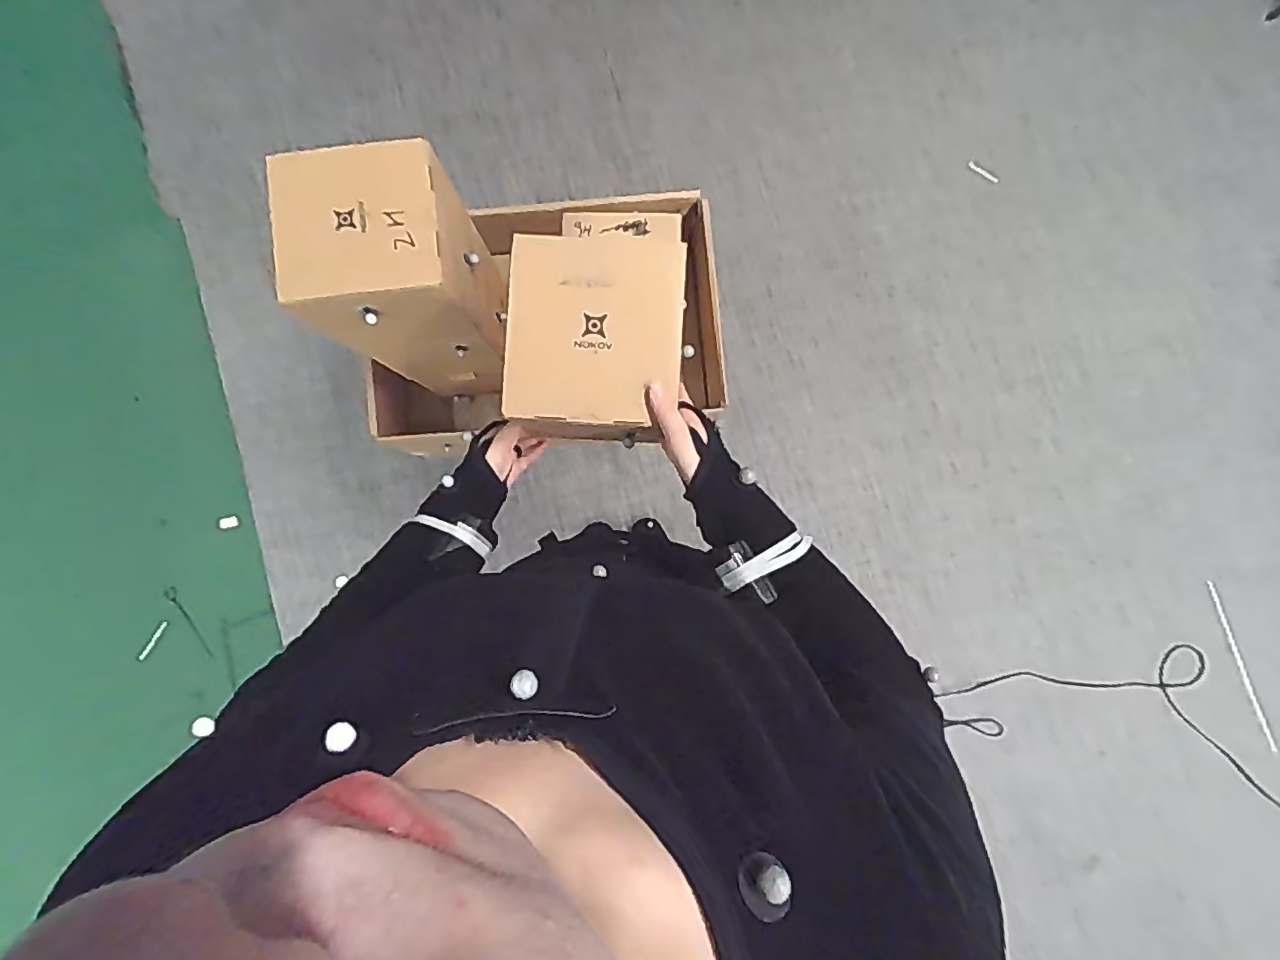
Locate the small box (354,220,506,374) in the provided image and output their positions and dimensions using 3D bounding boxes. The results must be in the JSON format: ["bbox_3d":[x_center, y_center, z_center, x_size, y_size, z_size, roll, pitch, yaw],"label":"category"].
[{"bbox_3d":[-0.312,-0.266,0.818,0.179,0.176,0.168,-6,87,-3],"label":"small box"}]

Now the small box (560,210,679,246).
[{"bbox_3d":[-0.030,-0.279,0.820,0.168,0.176,0.179,1,87,-1],"label":"small box"}]

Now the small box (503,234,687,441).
[{"bbox_3d":[-0.043,-0.139,0.588,0.168,0.176,0.179,4,88,-1],"label":"small box"}]

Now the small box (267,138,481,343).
[{"bbox_3d":[-0.306,-0.274,0.654,0.179,0.176,0.168,-7,87,-3],"label":"small box"}]
